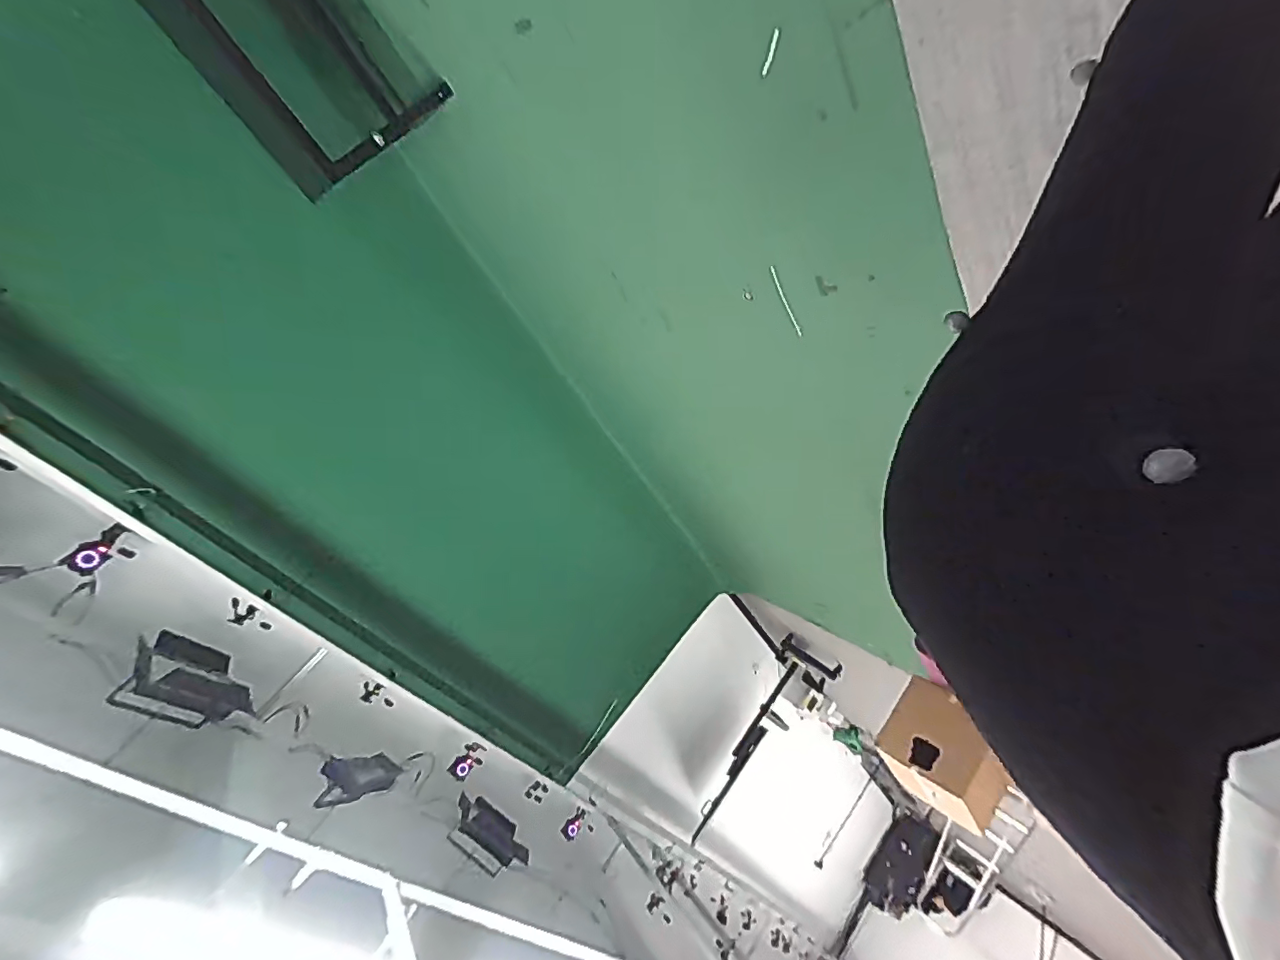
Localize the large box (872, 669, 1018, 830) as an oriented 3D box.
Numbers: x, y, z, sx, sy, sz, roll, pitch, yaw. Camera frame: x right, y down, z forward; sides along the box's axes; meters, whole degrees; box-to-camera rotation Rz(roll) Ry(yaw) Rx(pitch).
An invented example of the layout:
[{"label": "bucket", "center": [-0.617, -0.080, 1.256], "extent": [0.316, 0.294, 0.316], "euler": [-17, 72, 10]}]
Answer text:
[{"label": "large box", "center": [1.113, 0.967, 1.960], "extent": [0.320, 0.320, 0.408], "euler": [17, 151, 52]}]
